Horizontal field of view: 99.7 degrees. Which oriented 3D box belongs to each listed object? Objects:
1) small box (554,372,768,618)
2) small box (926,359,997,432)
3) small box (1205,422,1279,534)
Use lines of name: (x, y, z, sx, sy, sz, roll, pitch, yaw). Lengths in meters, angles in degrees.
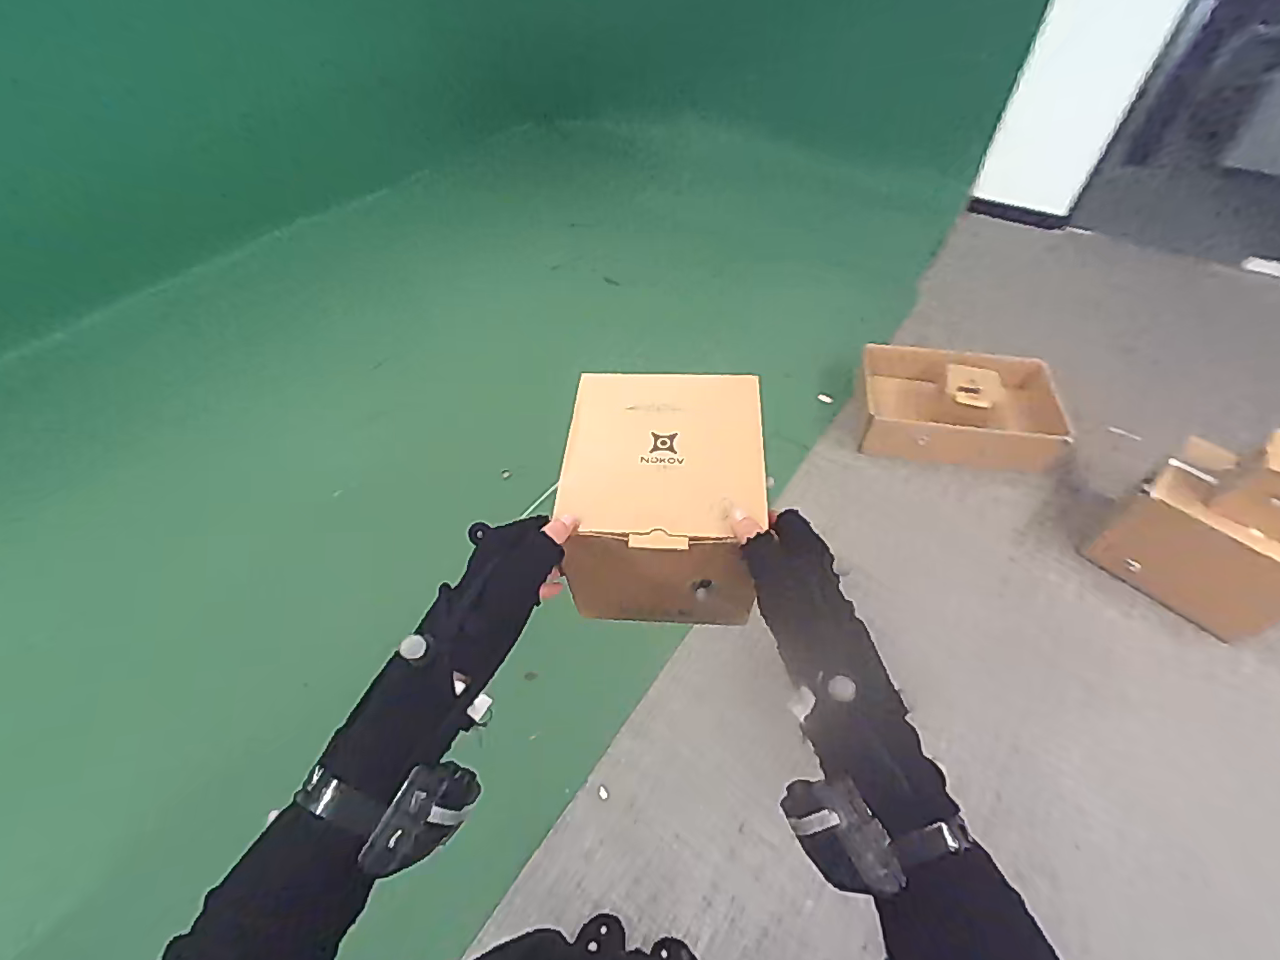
small box: (0.026, 0.018, 0.515, 0.168, 0.176, 0.179, 2, 53, 5)
small box: (1.111, -0.291, 1.877, 0.168, 0.176, 0.179, 14, 52, 14)
small box: (1.528, 0.000, 1.294, 0.179, 0.176, 0.168, 35, 61, 26)
